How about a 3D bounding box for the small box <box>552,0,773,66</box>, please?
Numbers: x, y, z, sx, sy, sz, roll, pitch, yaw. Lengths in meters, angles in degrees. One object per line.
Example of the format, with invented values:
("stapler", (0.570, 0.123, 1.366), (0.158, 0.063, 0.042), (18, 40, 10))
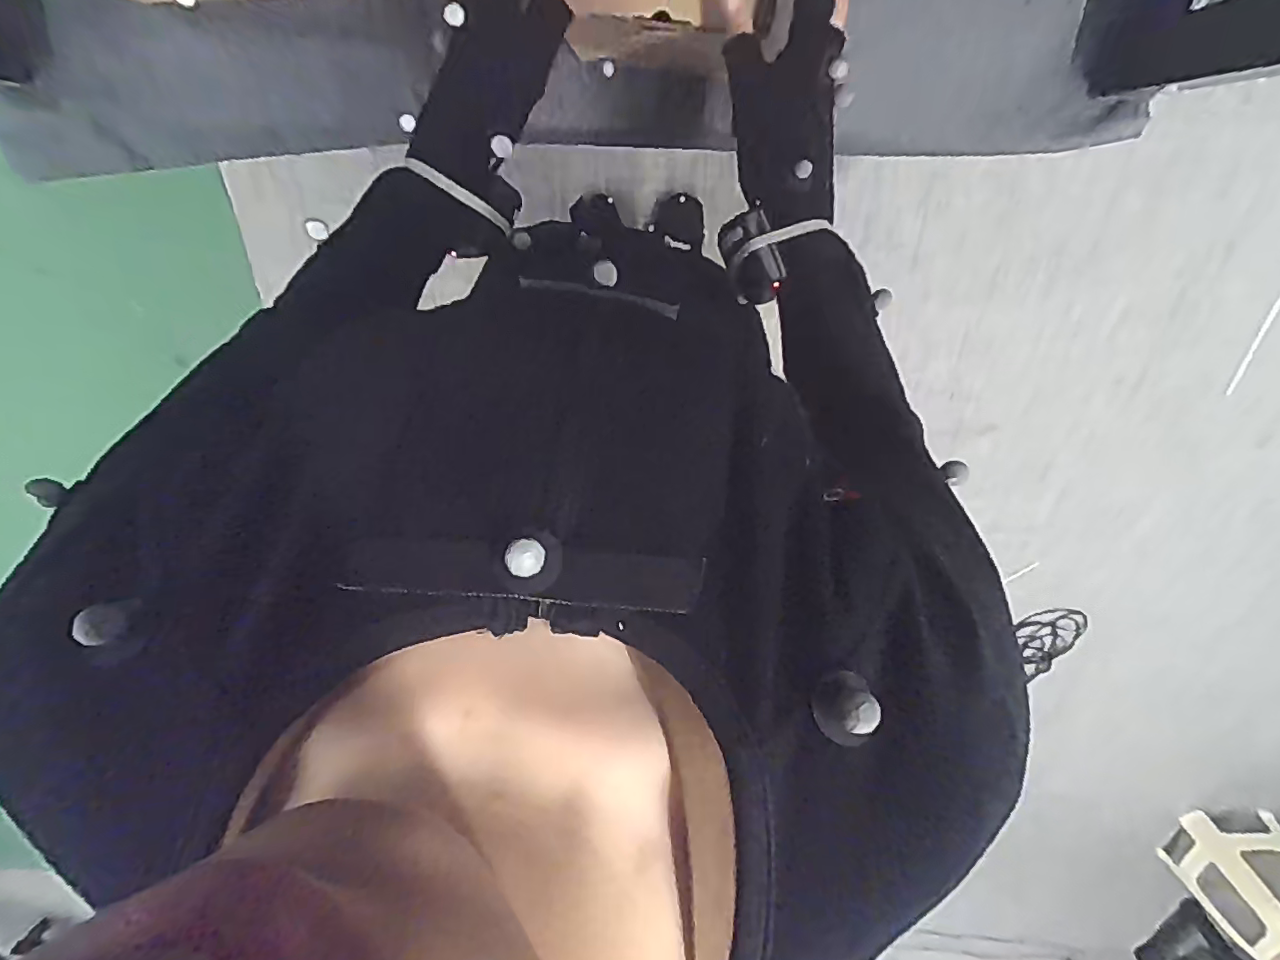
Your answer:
("small box", (0.027, -0.454, 0.427), (0.168, 0.176, 0.179), (6, 118, -1))
